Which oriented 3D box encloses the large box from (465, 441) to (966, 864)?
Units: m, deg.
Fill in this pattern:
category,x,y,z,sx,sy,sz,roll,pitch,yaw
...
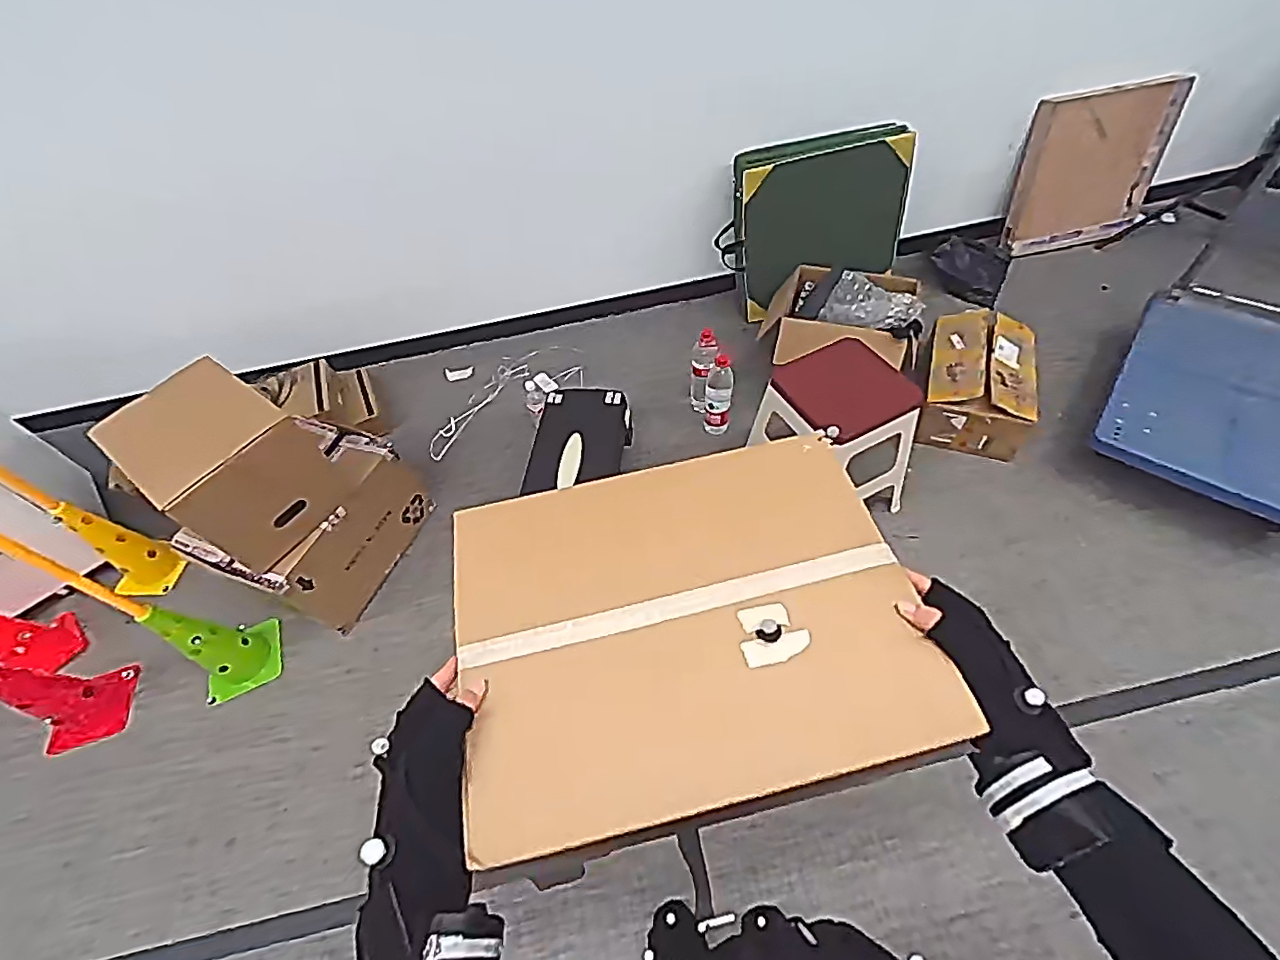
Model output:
category,x,y,z,sx,sy,sz,roll,pitch,yaw
large box,0.049,0.206,0.623,0.408,0.320,0.320,-13,55,-4
